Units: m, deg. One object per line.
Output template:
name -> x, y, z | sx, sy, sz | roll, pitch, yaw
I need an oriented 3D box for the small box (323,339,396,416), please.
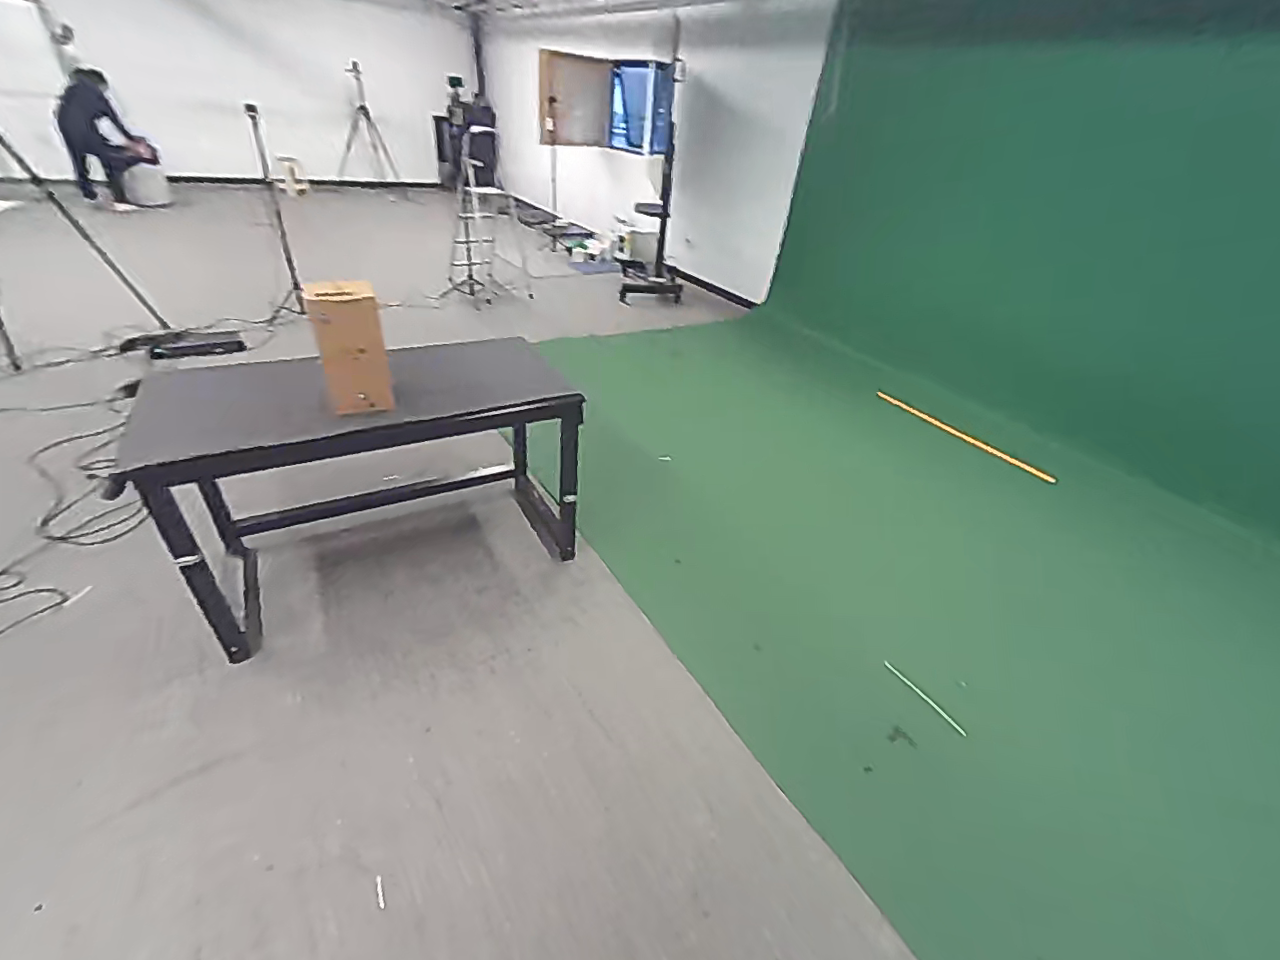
small box -> -0.833, -0.307, 1.609 | 0.168, 0.176, 0.179 | -11, 37, -24
